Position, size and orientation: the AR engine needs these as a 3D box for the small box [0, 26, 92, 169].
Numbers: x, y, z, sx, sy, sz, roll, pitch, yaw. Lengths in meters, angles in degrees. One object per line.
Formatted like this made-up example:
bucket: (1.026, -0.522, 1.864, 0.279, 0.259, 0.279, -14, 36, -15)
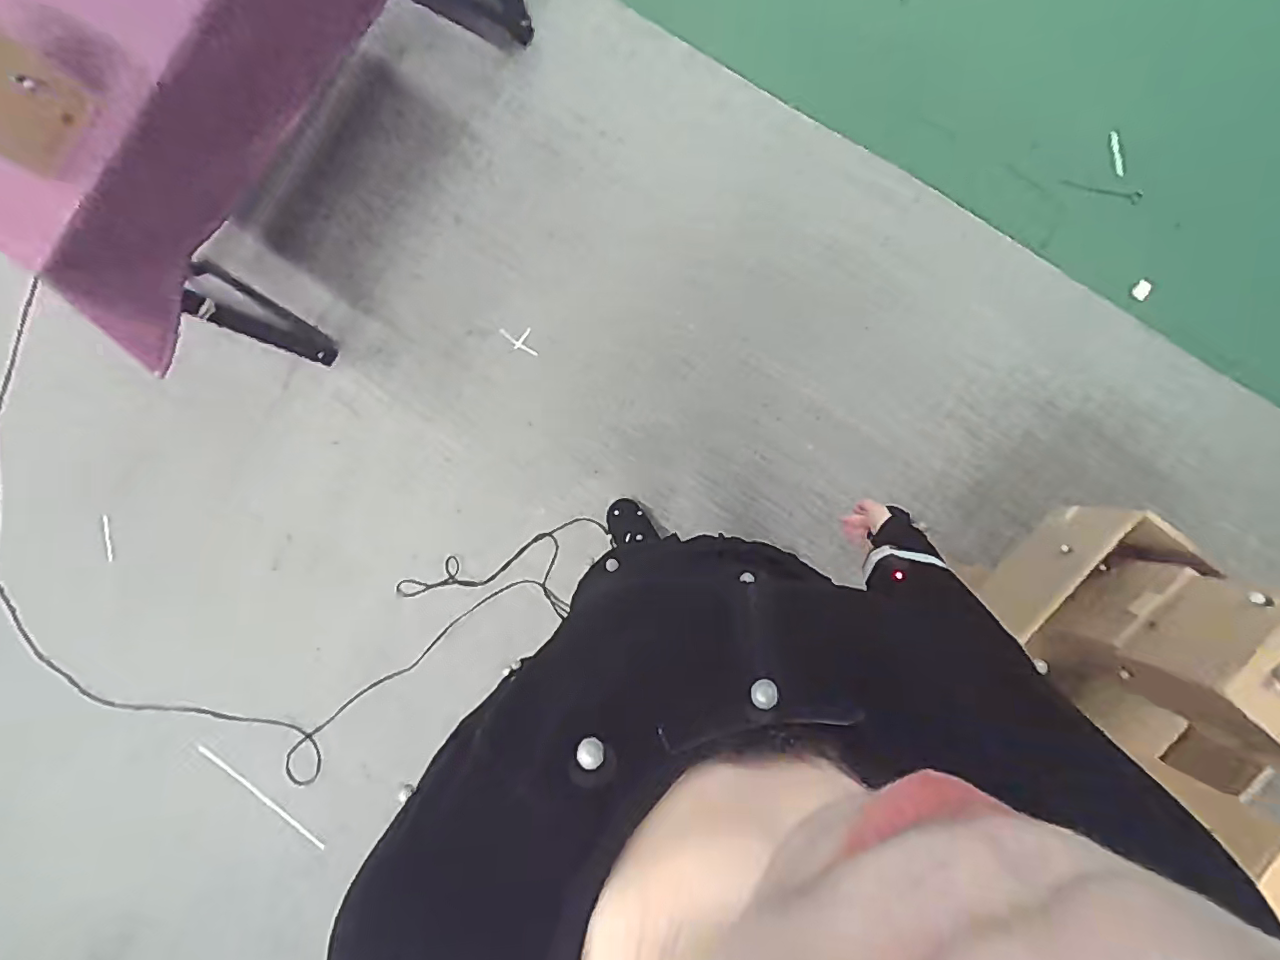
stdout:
small box: (-1.009, -0.614, 0.816, 0.179, 0.176, 0.168, 31, 89, 6)
